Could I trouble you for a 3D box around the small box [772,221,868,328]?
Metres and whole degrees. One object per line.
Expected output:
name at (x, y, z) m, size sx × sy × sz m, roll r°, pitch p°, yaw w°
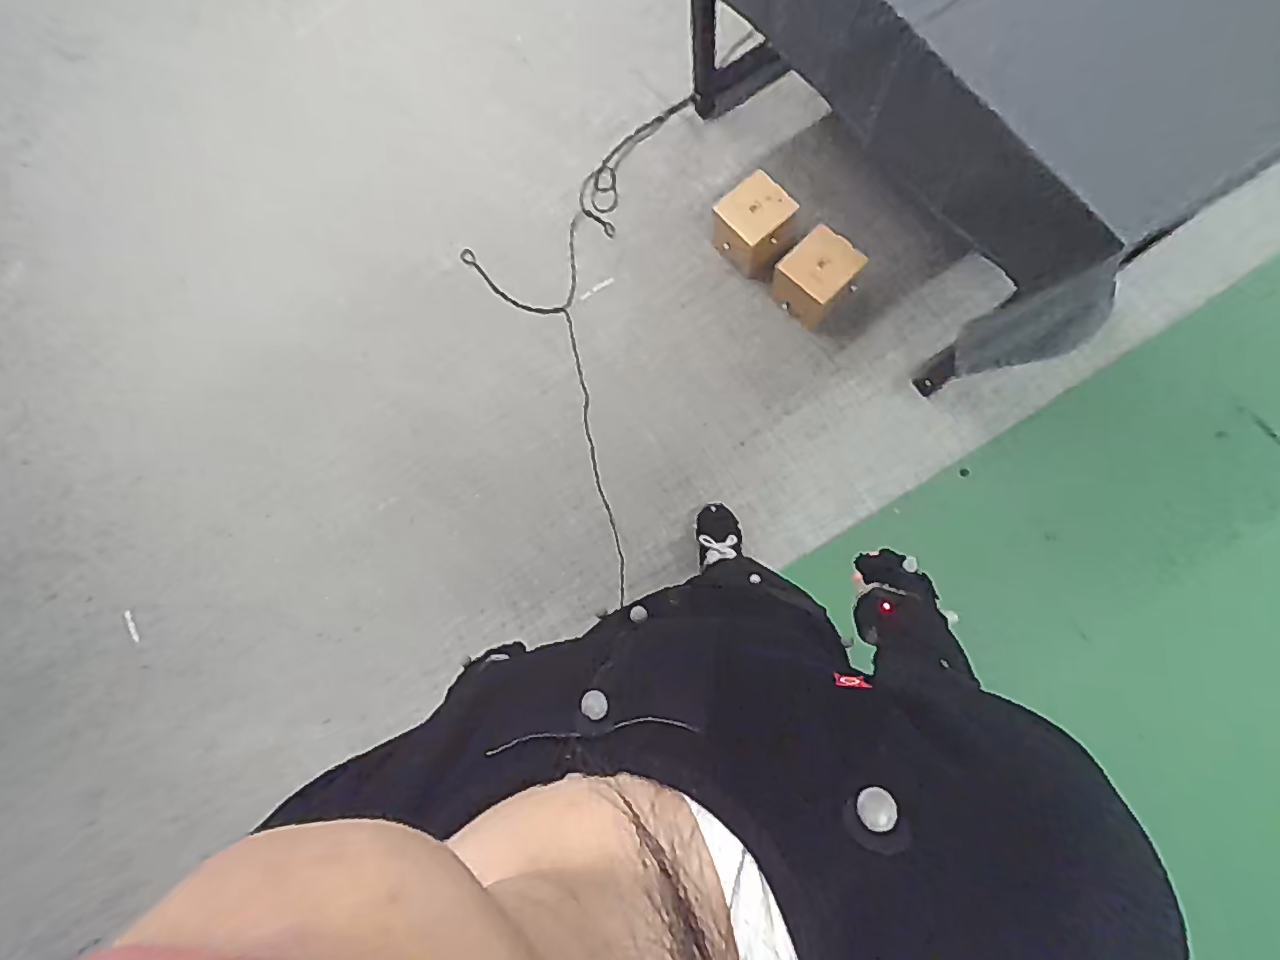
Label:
small box at (0.483, -0.556, 1.484) m, size 0.179 × 0.176 × 0.168 m, roll -44°, pitch 78°, yaw -2°
